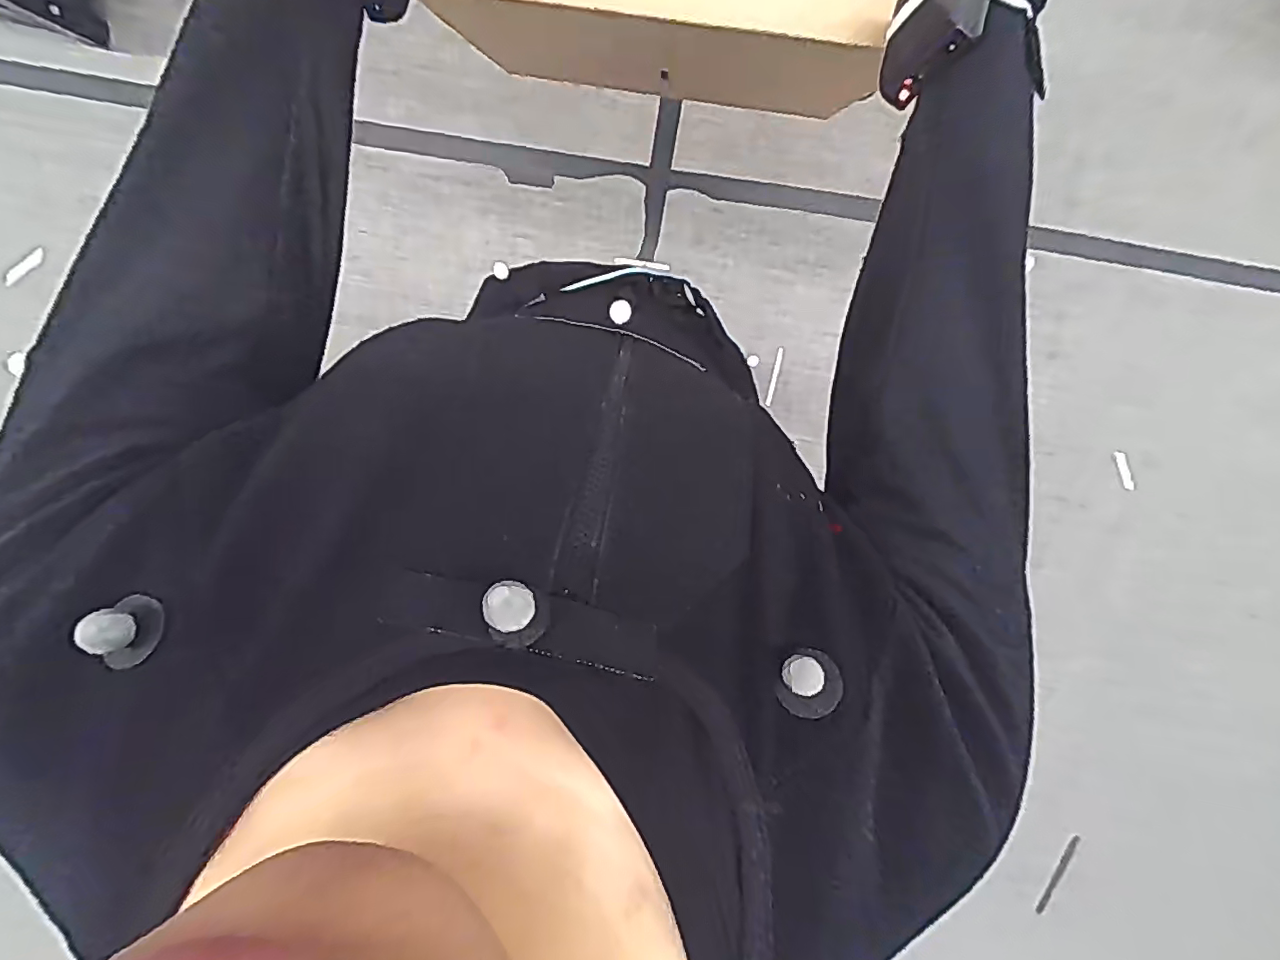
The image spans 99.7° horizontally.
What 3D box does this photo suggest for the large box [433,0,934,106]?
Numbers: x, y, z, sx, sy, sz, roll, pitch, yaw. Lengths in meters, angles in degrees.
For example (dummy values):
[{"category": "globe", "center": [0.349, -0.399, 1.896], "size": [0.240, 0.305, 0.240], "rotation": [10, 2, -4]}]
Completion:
[{"category": "large box", "center": [0.045, -0.551, 0.468], "size": [0.408, 0.320, 0.320], "rotation": [9, 116, 0]}]
